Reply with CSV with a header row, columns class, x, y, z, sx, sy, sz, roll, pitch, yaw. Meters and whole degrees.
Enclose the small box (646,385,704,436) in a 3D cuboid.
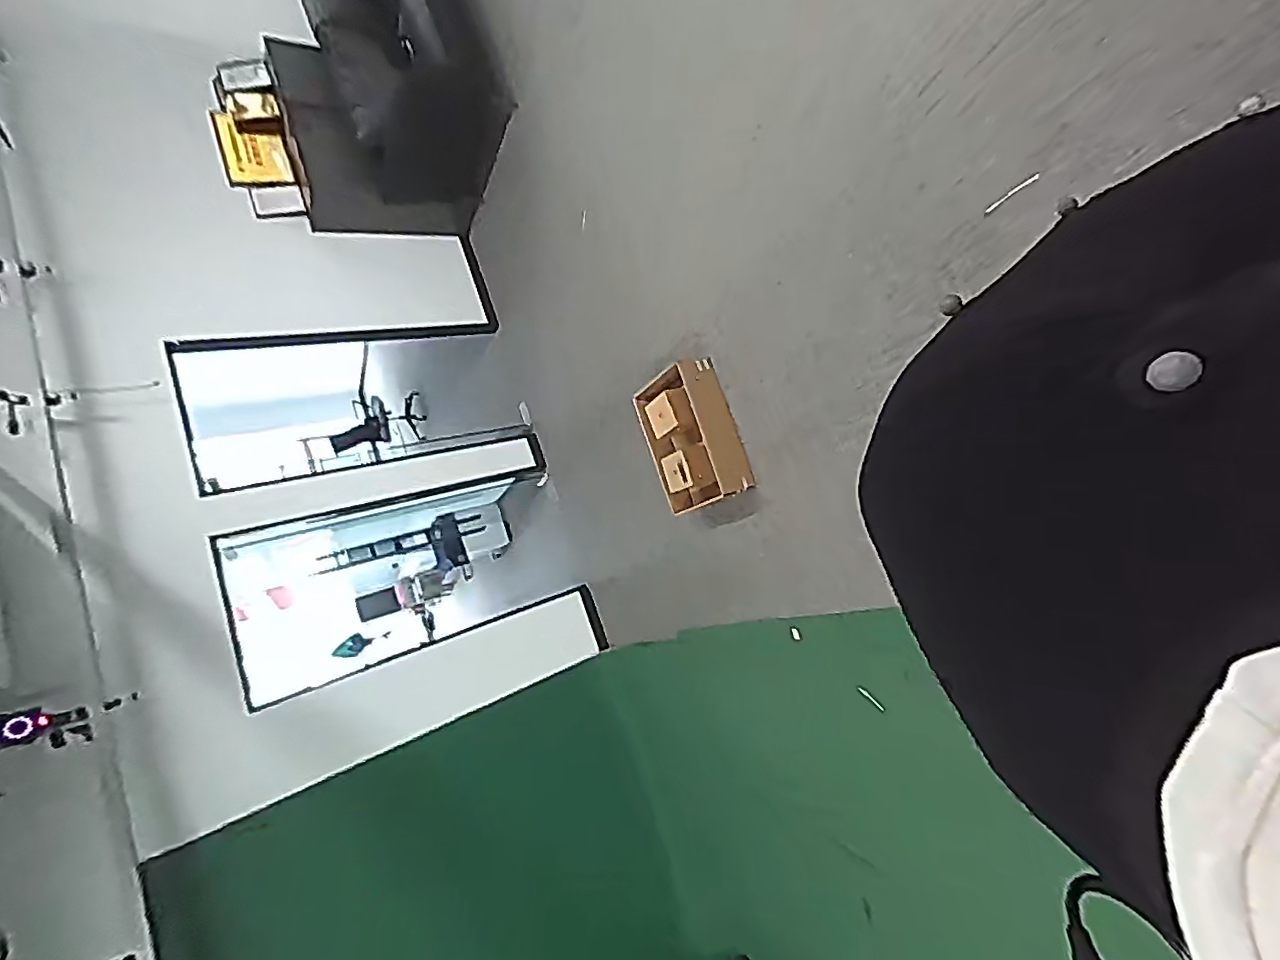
class,x,y,z,sx,sy,sz,roll,pitch,yaw
small box,0.160,-0.317,2.457,0.179,0.176,0.168,-33,75,54
